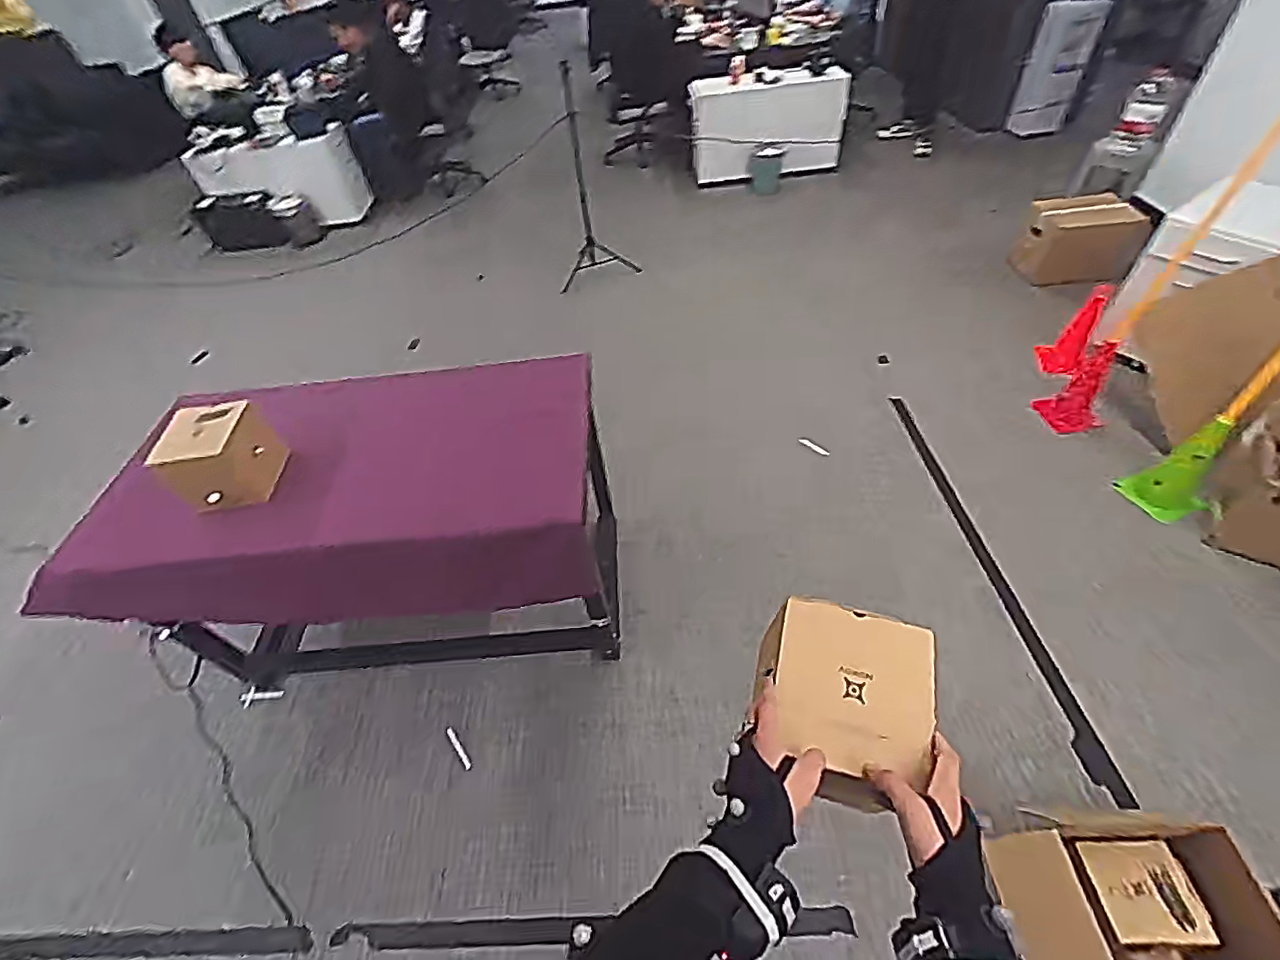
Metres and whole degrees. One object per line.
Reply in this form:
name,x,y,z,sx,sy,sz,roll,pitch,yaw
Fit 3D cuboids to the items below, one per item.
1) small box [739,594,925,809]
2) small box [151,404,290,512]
small box,0.221,0.268,0.650,0.168,0.176,0.179,13,54,9
small box,-0.957,-0.050,1.257,0.168,0.176,0.179,-8,49,0
